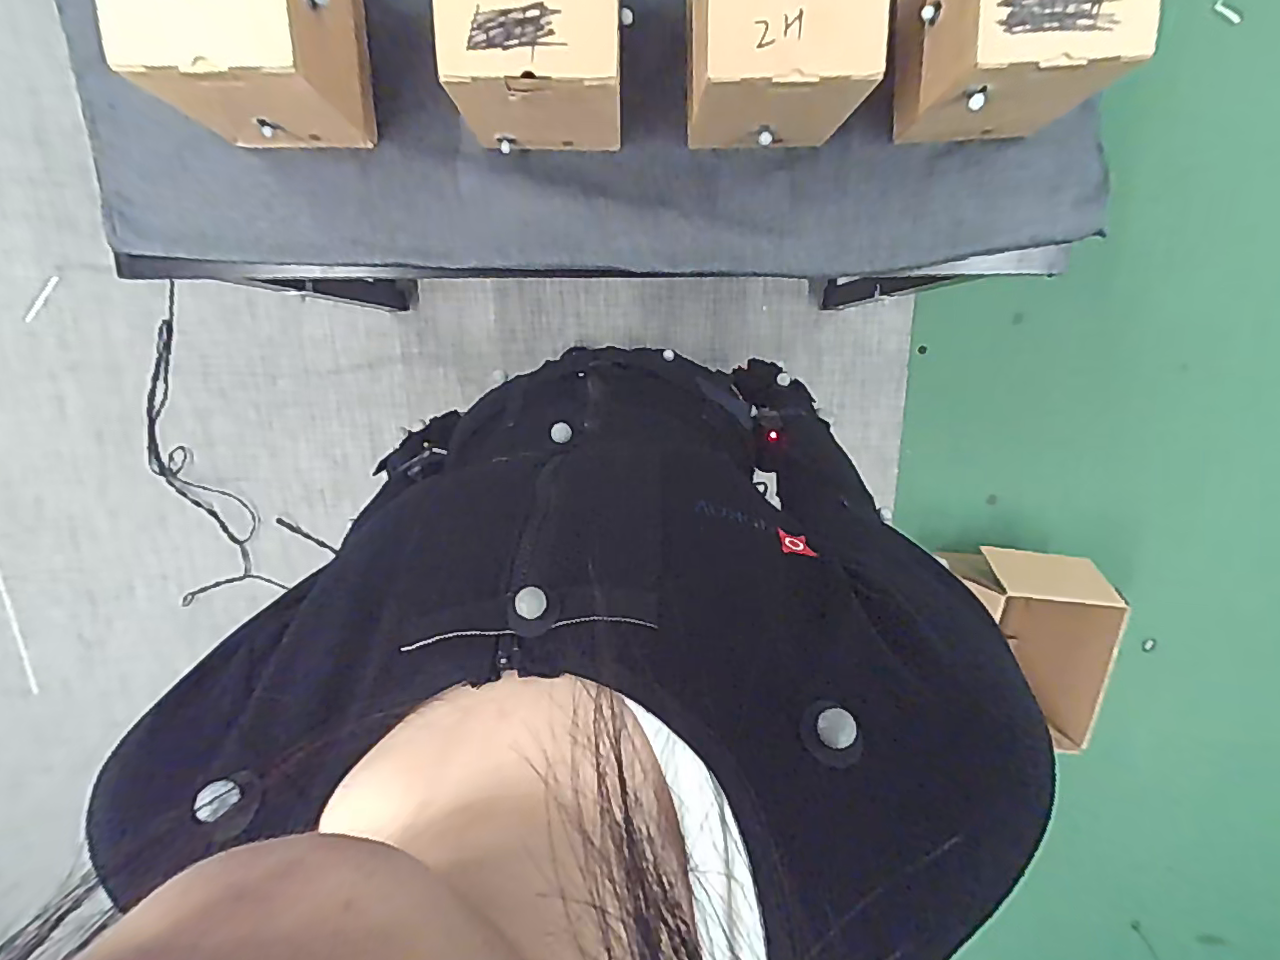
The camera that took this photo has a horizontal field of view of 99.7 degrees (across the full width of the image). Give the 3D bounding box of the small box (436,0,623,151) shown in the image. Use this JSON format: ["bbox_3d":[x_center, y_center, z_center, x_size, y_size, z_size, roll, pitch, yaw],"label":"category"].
[{"bbox_3d":[-0.101,-0.462,0.555,0.168,0.176,0.179,0,101,-2],"label":"small box"}]

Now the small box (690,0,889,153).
[{"bbox_3d":[0.141,-0.467,0.561,0.168,0.176,0.179,-1,102,0],"label":"small box"}]

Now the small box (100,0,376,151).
[{"bbox_3d":[-0.389,-0.463,0.545,0.168,0.176,0.179,-1,101,-2],"label":"small box"}]
